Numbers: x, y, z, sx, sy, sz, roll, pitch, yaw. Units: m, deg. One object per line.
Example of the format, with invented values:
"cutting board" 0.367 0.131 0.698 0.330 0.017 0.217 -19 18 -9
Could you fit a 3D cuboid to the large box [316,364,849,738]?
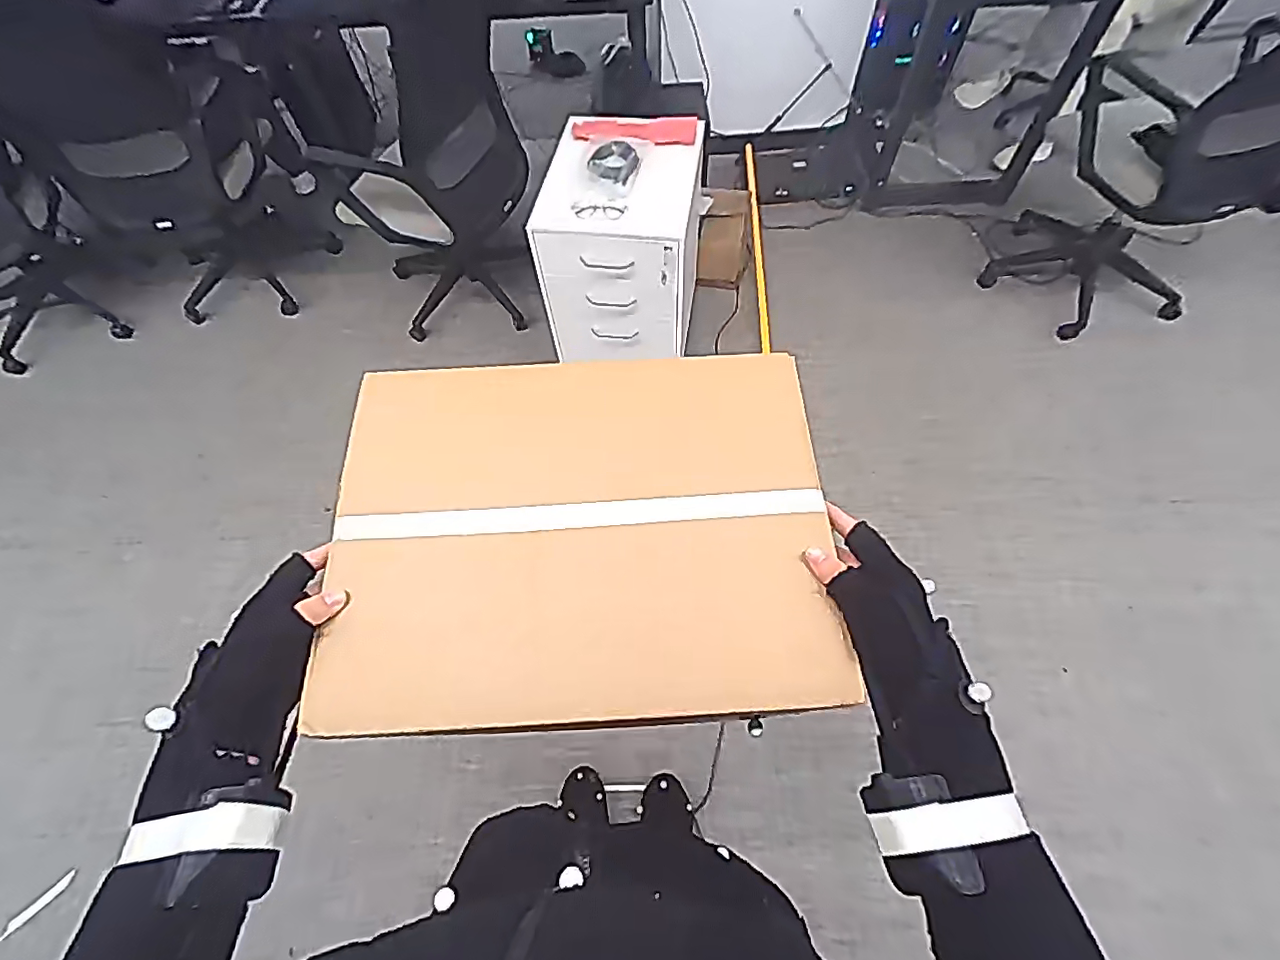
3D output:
"large box" -0.047 0.097 0.594 0.408 0.320 0.320 -2 65 -1
